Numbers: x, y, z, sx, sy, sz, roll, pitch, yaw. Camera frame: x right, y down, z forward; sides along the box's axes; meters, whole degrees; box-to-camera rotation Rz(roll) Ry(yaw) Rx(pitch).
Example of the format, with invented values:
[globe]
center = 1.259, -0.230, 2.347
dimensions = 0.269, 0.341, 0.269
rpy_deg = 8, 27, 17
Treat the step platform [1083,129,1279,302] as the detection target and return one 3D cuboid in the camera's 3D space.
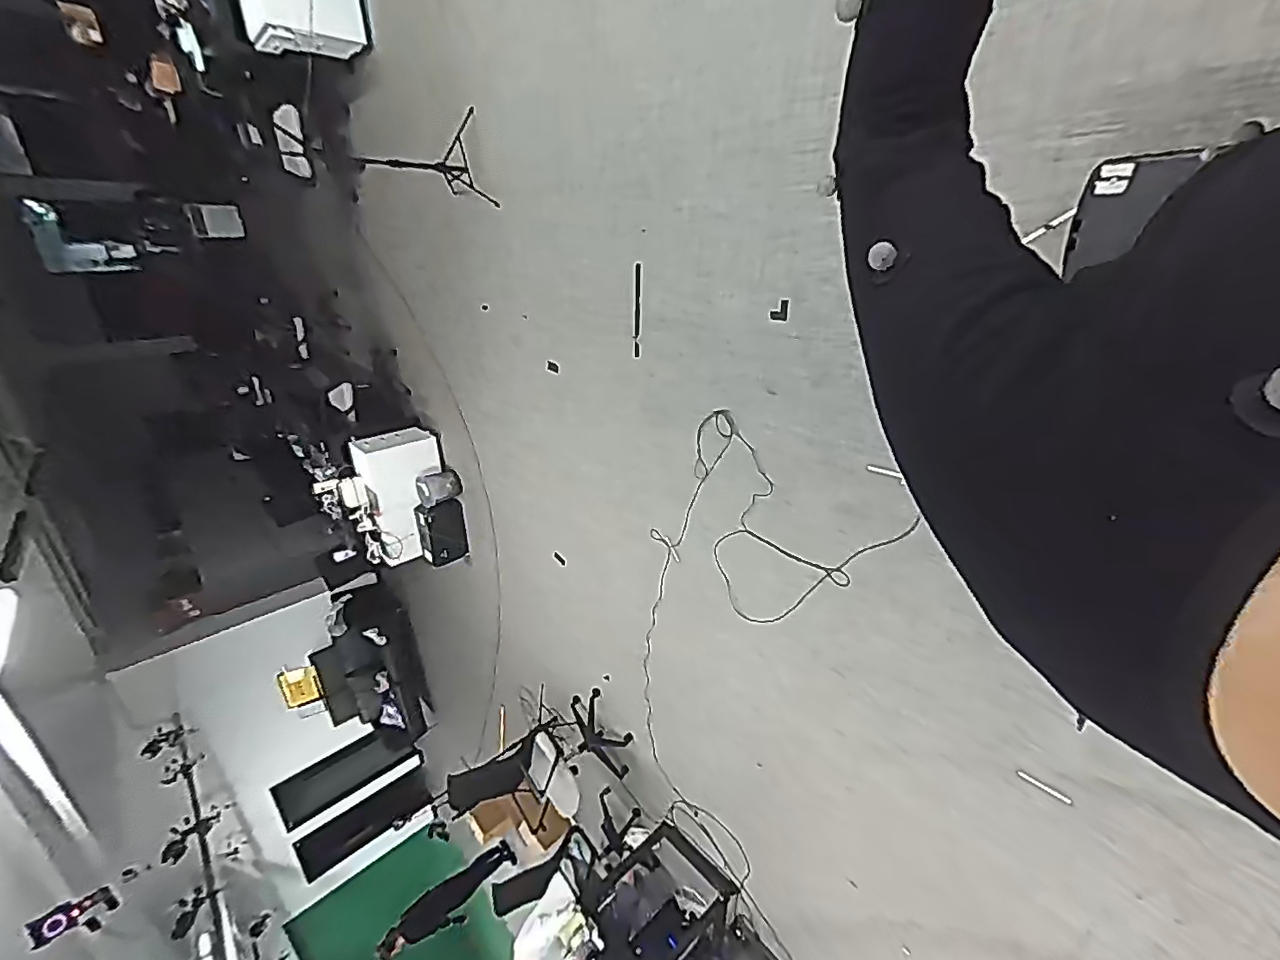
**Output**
[step platform]
center = 1.212, -0.460, 0.937
dimensions = 0.684, 0.204, 0.286
rpy_deg = 20, 121, 42
